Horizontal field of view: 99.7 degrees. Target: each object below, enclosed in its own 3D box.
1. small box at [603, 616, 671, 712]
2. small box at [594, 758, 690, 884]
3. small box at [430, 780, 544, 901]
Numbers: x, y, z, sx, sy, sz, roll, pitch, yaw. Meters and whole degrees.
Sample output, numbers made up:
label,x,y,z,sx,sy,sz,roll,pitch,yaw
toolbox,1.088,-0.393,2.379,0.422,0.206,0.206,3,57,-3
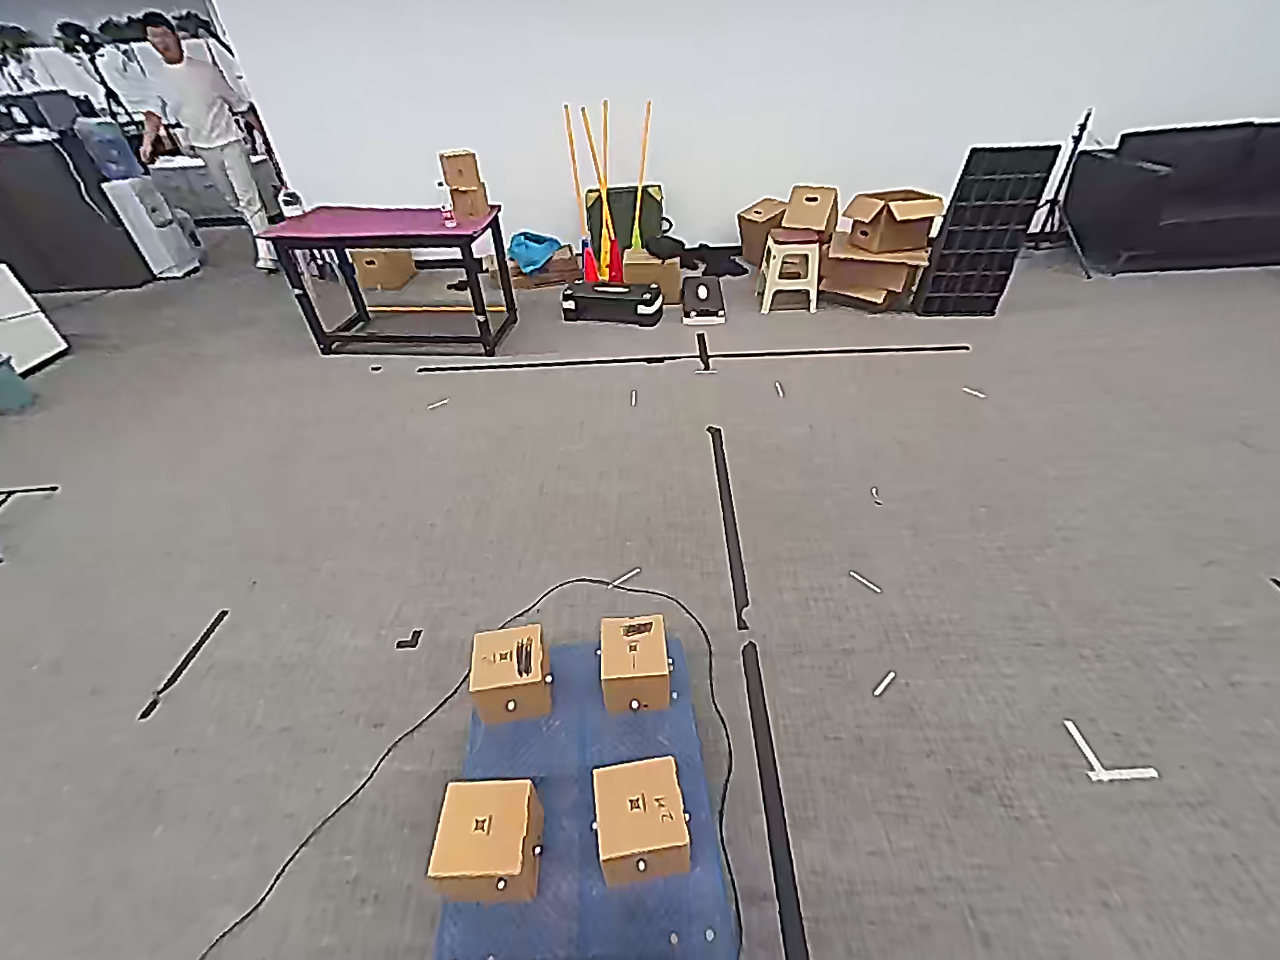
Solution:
label,x,y,z,sx,sy,sz,roll,pitch,yaw
small box,-0.009,0.478,1.408,0.168,0.176,0.179,-4,40,-1
small box,0.004,0.710,1.124,0.179,0.176,0.168,-7,40,-5
small box,-0.303,0.740,1.108,0.179,0.176,0.168,-2,39,-1
